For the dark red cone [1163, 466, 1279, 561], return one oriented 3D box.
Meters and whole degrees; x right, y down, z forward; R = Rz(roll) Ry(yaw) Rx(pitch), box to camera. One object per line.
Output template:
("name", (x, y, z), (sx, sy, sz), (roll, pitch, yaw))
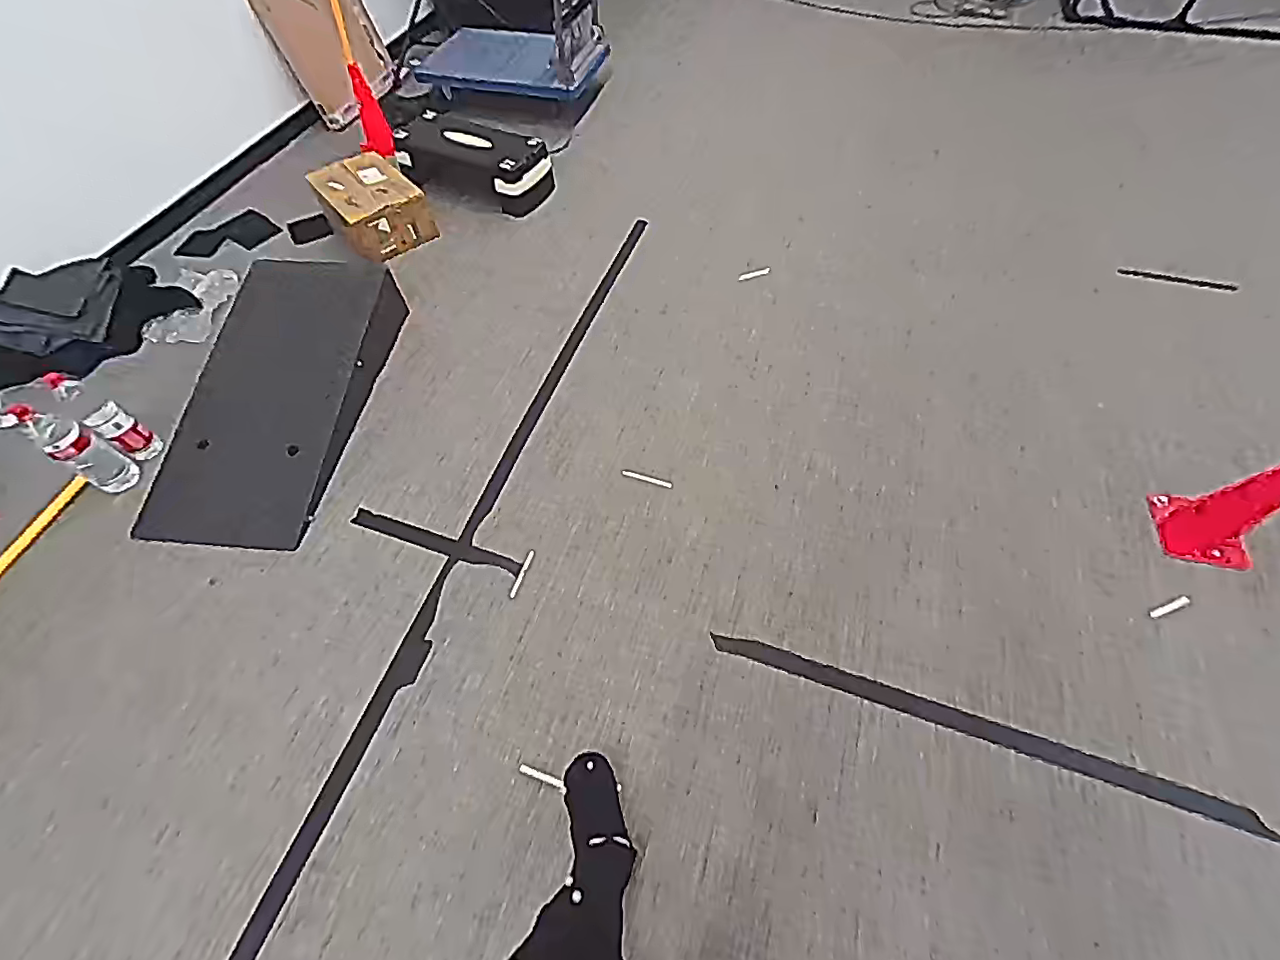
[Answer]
("dark red cone", (1.484, 0.024, 1.268), (0.202, 0.394, 0.201), (9, 59, 8))
